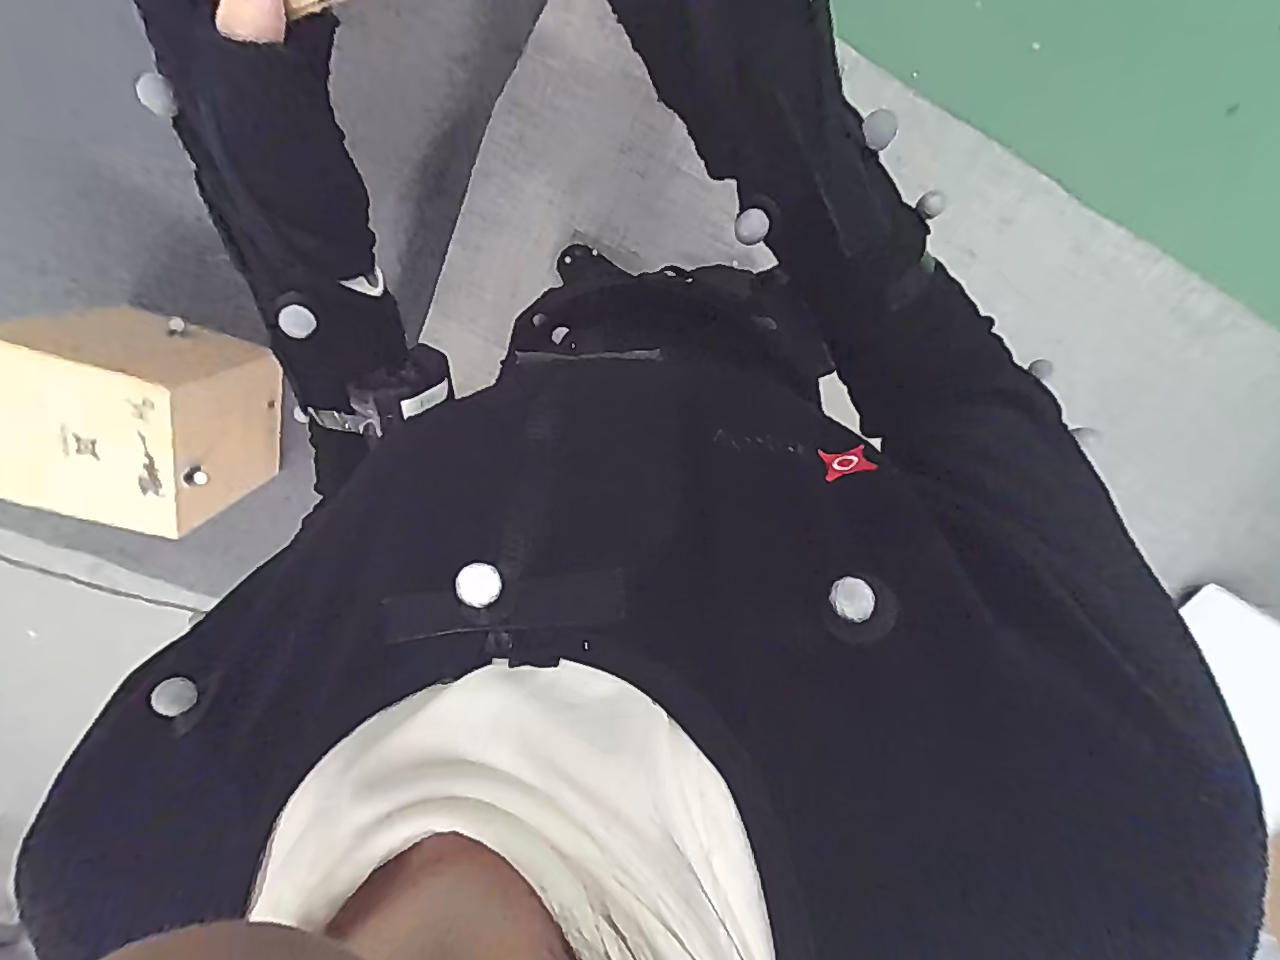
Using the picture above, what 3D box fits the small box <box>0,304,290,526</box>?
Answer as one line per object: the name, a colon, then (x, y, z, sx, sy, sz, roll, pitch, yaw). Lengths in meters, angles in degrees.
small box: (-0.518, -0.080, 0.581, 0.179, 0.176, 0.168, 17, 115, -5)
